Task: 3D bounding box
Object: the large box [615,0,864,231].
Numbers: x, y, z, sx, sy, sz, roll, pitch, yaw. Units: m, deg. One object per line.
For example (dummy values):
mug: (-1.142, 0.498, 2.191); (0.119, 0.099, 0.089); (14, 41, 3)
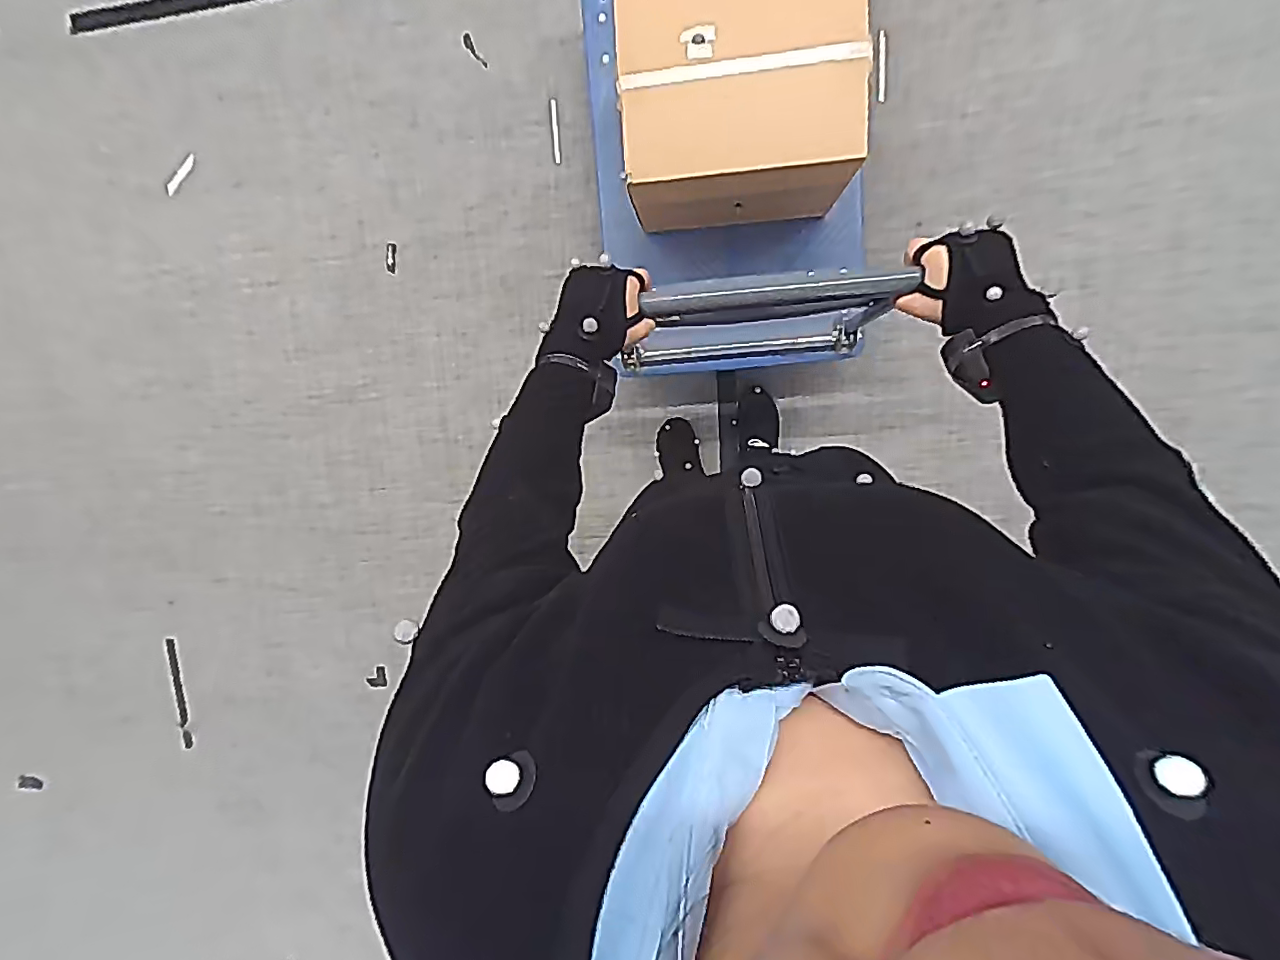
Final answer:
large box: (0.186, -0.705, 1.049); (0.408, 0.320, 0.320); (-3, 98, 8)
